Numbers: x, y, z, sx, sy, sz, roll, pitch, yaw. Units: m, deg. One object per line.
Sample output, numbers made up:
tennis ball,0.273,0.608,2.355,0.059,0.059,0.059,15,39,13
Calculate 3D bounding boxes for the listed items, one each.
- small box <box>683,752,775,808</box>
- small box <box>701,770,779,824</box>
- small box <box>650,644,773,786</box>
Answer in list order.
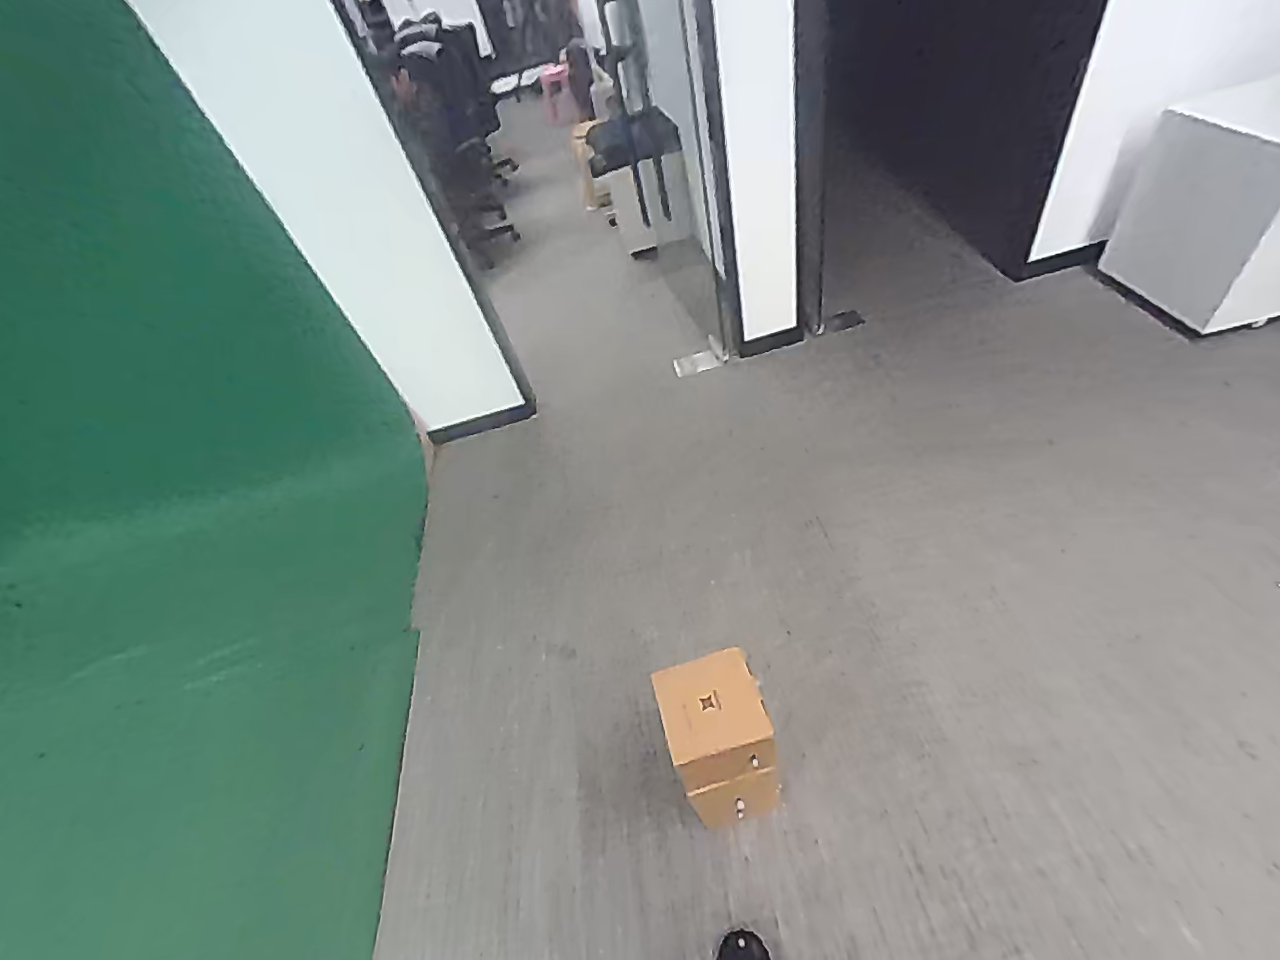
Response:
small box,0.166,0.548,1.111,0.179,0.176,0.168,-17,46,0
small box,0.200,0.652,1.231,0.179,0.176,0.168,-21,46,-4
small box,0.134,0.435,0.998,0.179,0.176,0.168,-19,45,0
